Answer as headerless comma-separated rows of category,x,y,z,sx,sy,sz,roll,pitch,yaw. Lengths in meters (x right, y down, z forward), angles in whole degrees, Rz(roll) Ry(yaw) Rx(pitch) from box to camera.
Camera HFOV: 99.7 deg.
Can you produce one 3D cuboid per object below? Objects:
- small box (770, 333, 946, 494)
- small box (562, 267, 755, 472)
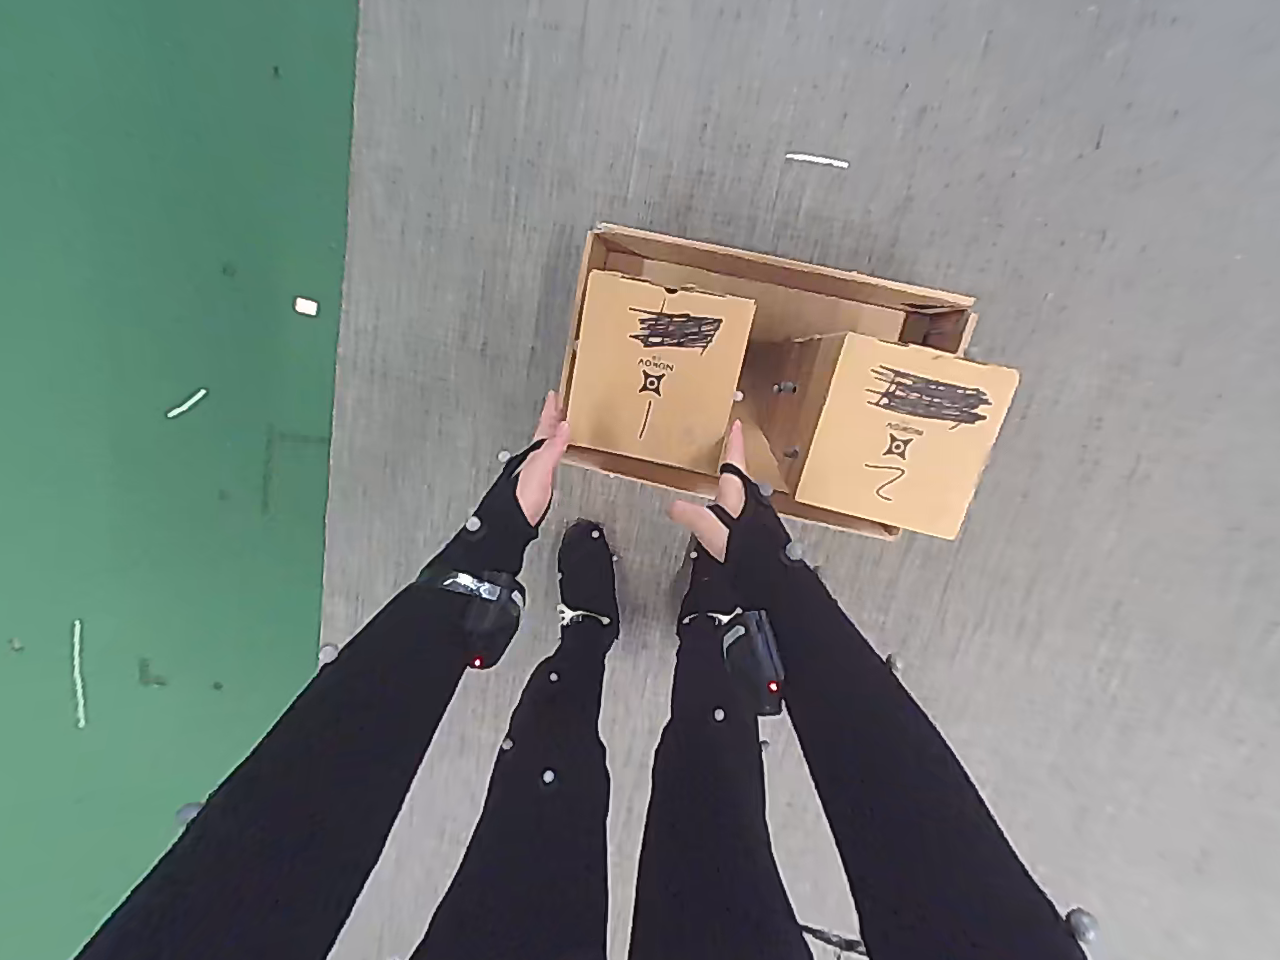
small box,0.289,-0.097,0.763,0.168,0.176,0.179,14,103,5
small box,0.022,-0.124,0.618,0.168,0.176,0.179,12,104,3
